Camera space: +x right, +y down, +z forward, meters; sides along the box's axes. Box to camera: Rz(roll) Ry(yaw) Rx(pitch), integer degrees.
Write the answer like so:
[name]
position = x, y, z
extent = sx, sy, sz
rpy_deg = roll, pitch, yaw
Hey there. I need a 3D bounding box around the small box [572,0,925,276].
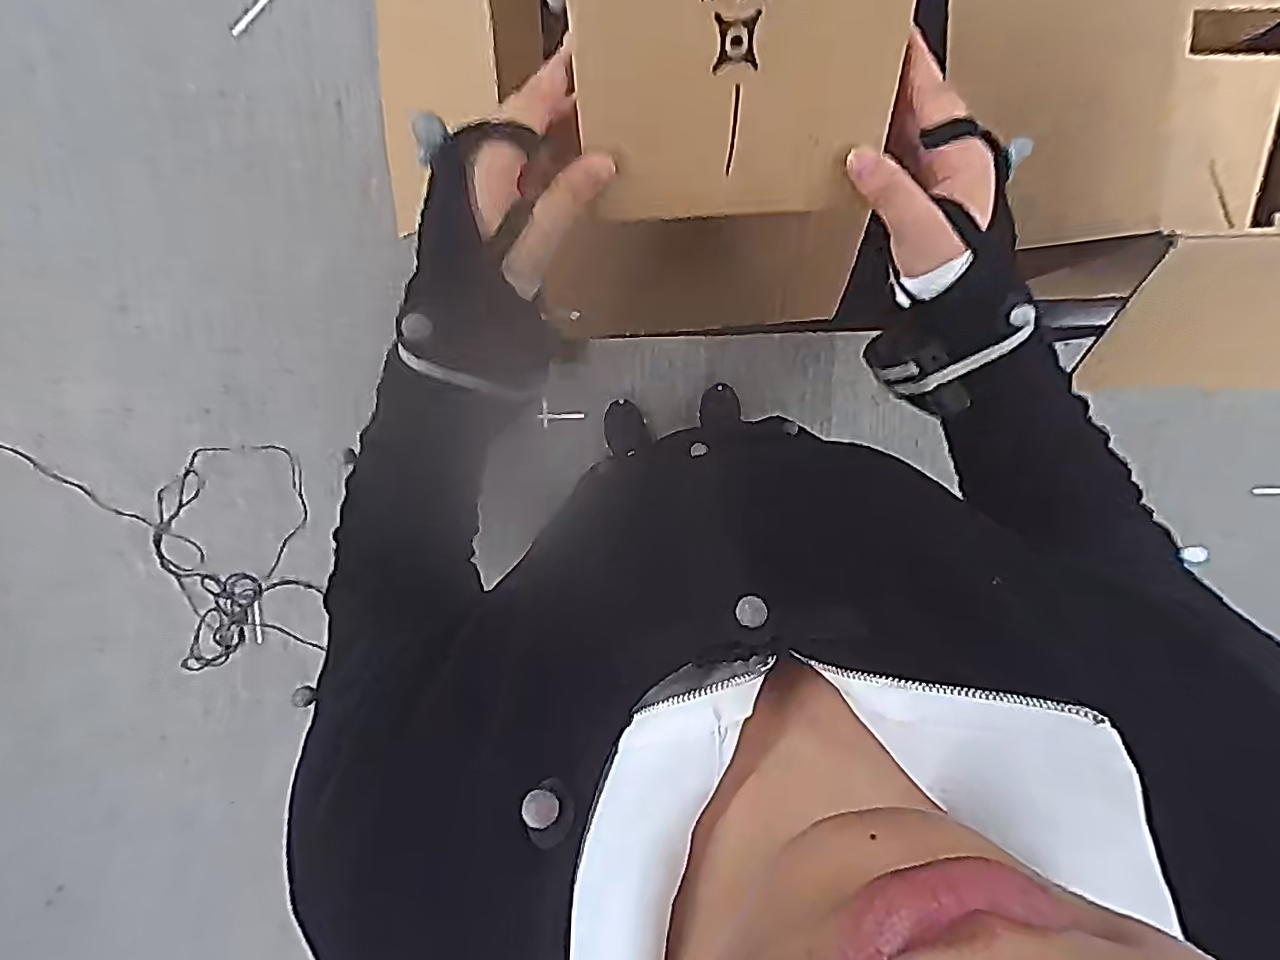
[small box]
position = 0.048, -0.244, 0.331
extent = 0.168, 0.176, 0.179
rpy_deg = -2, 131, 1
